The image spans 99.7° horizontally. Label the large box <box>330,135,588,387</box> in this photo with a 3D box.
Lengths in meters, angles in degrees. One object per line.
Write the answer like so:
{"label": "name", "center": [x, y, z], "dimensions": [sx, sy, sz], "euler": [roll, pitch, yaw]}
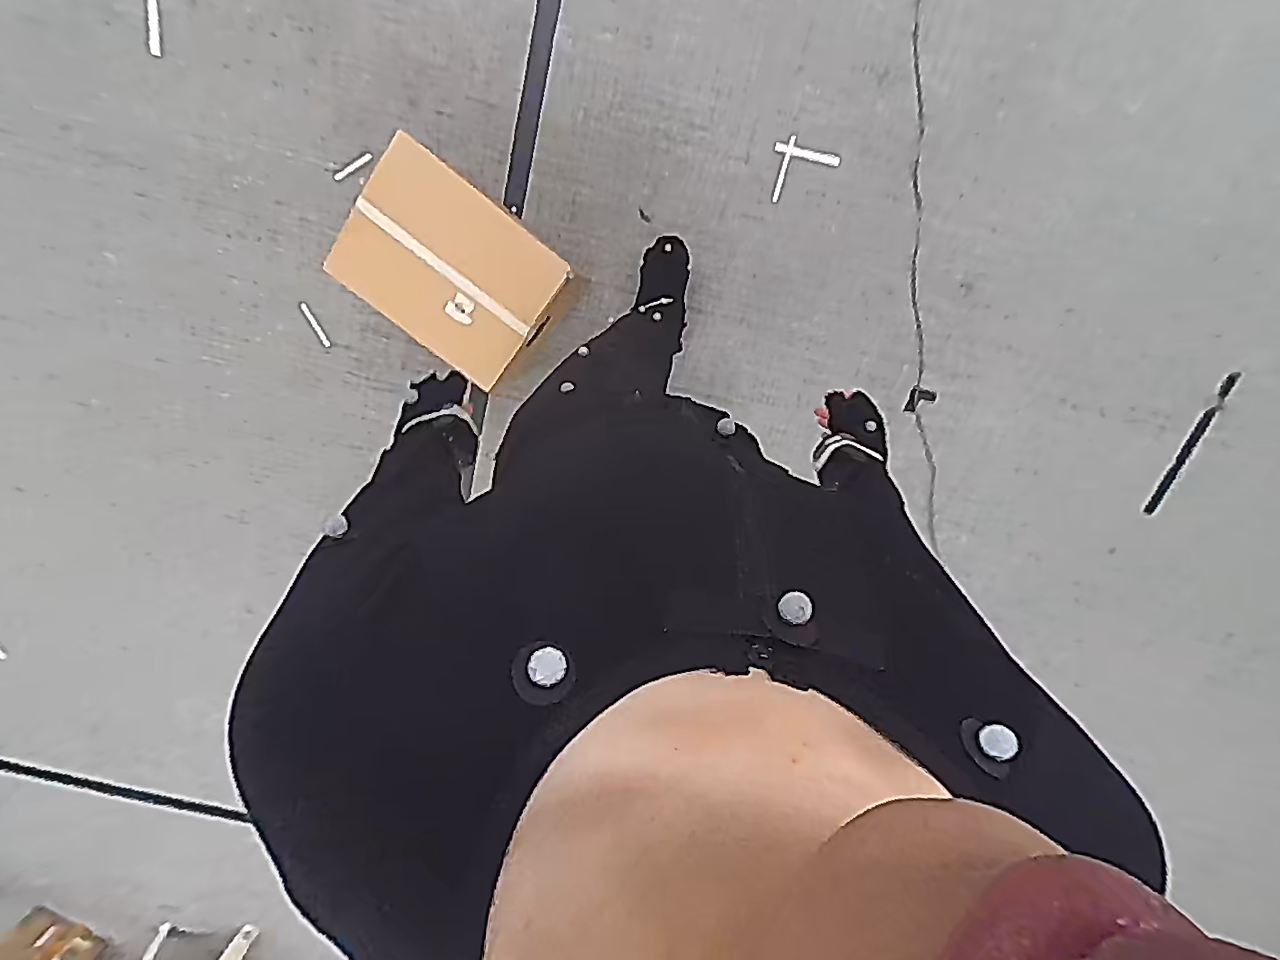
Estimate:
{"label": "large box", "center": [-0.377, -0.467, 1.223], "dimensions": [0.408, 0.320, 0.320], "euler": [37, 105, -10]}
